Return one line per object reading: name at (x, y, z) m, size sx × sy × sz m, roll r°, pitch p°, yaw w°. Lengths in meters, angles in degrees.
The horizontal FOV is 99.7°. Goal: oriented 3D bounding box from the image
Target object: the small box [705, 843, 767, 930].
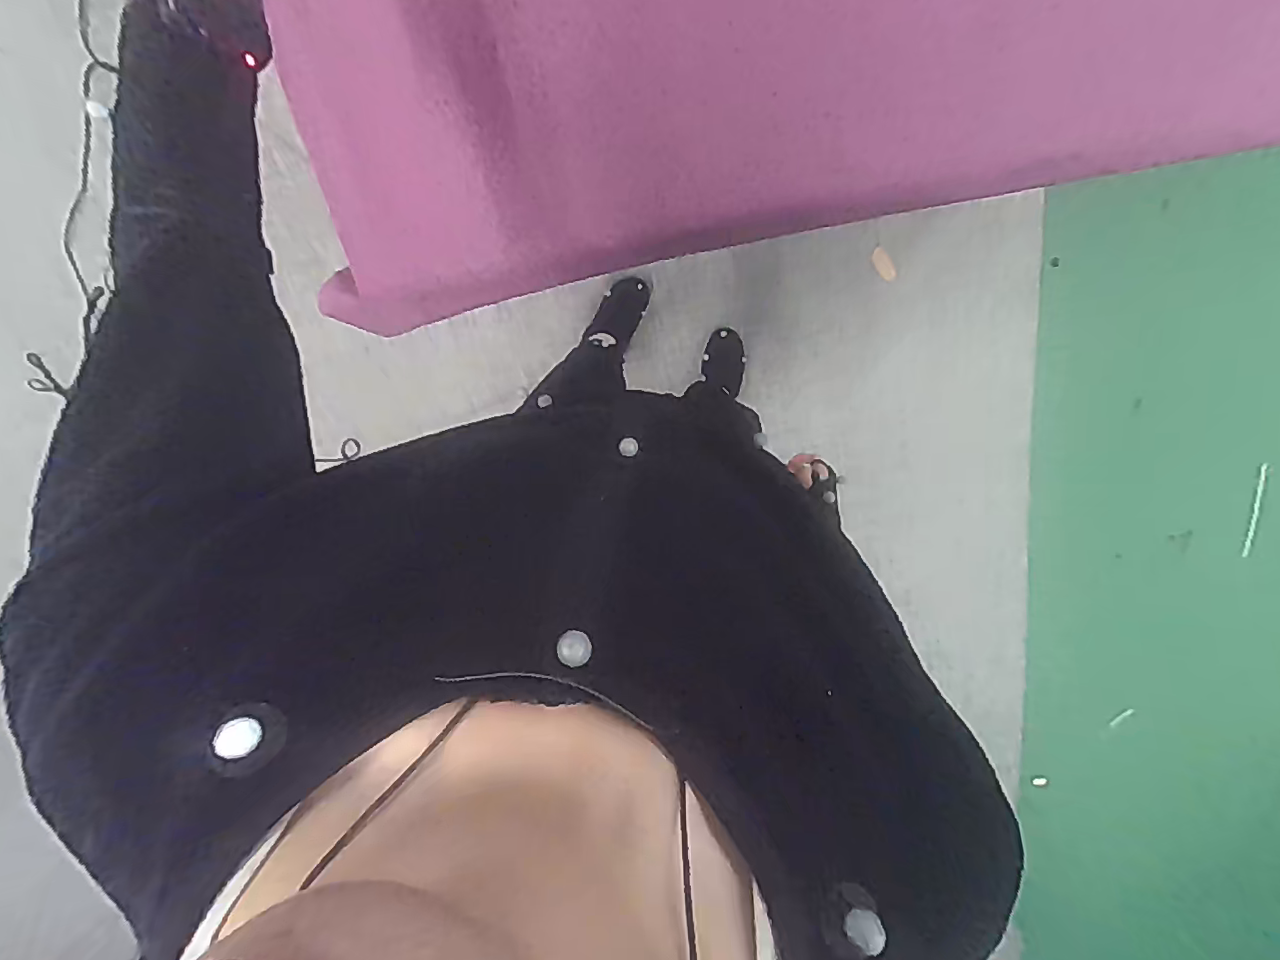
small box at (0.320, 1.382, 1.841) m, size 0.168 × 0.176 × 0.179 m, roll 7°, pitch 112°, yaw -2°
